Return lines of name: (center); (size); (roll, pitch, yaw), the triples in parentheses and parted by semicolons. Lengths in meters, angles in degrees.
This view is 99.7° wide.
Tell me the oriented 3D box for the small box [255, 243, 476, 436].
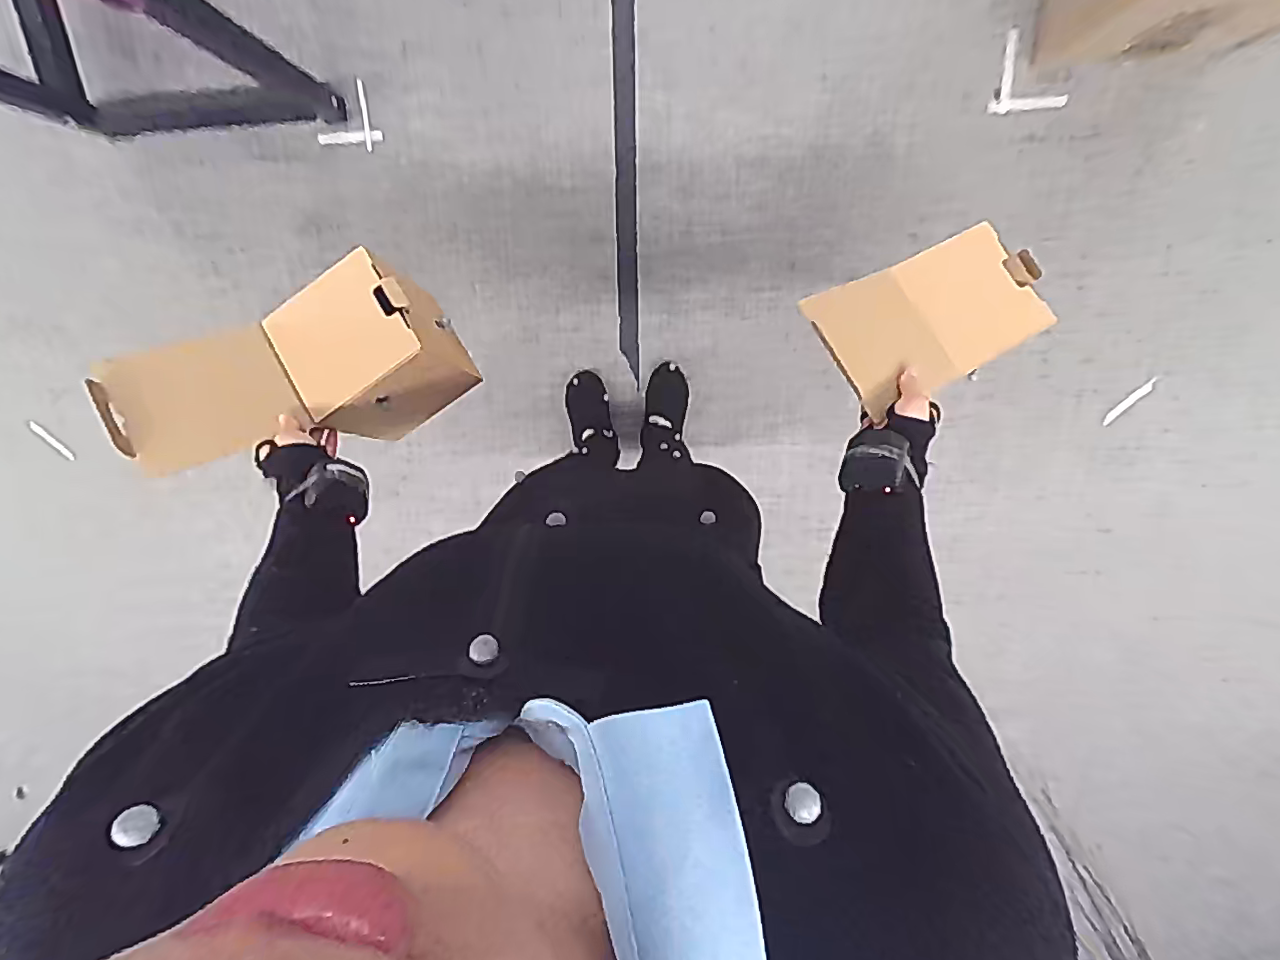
small box: (-0.362, -0.175, 0.741); (0.179, 0.176, 0.168); (-33, 83, 8)
